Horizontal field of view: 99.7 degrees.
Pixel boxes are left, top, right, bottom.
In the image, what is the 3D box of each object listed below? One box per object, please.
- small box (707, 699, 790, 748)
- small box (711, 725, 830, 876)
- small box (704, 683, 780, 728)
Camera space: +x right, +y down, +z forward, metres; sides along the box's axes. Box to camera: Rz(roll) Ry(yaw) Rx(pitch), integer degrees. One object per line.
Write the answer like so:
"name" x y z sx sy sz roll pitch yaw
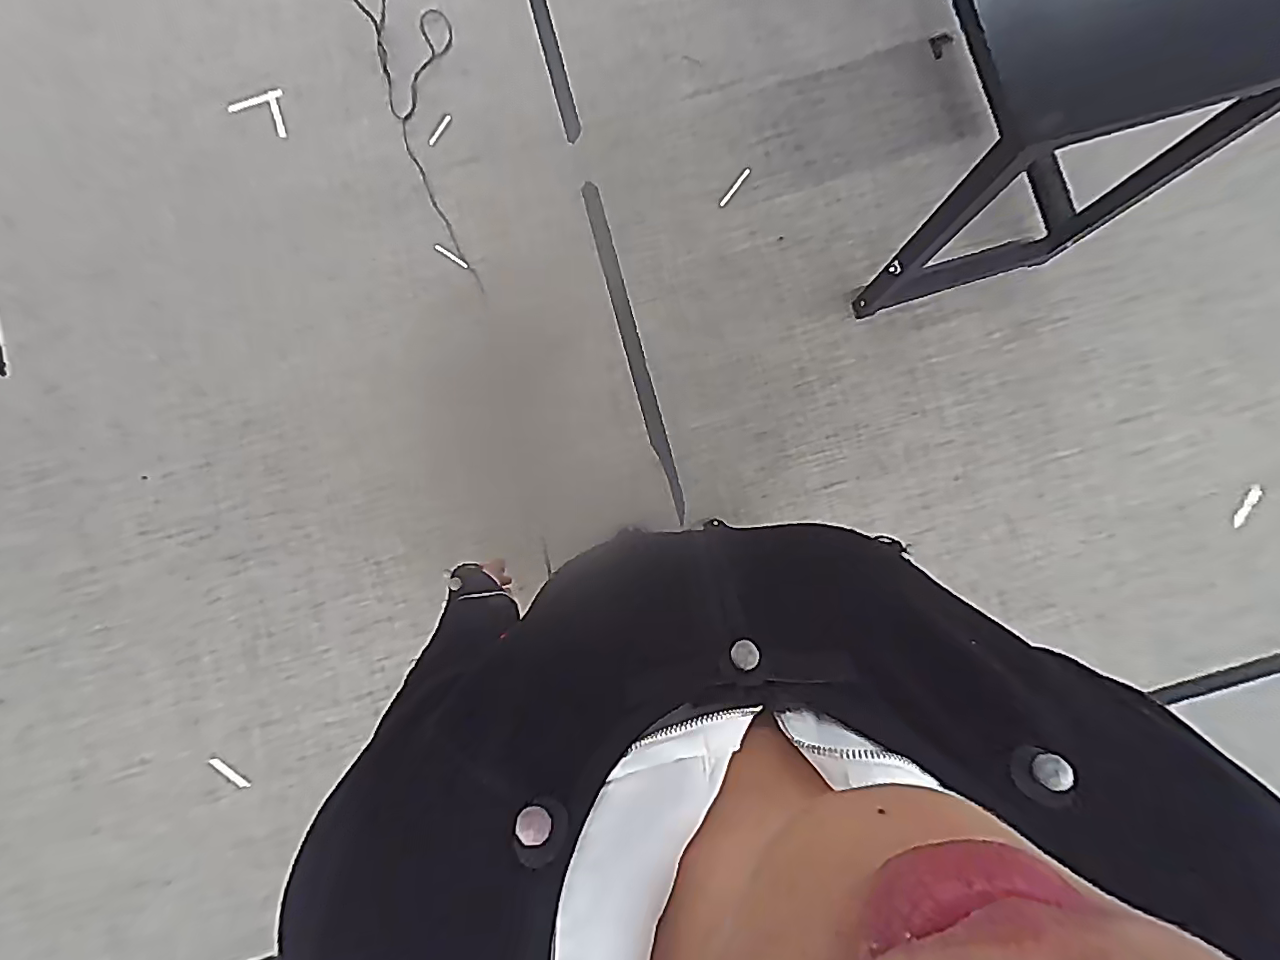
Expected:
"small box" 0.258 0.625 1.218 0.168 0.176 0.179 -18 86 1
"small box" 0.245 0.613 1.054 0.168 0.176 0.179 -18 84 1
"small box" 0.267 0.640 1.381 0.179 0.176 0.168 -16 85 0
